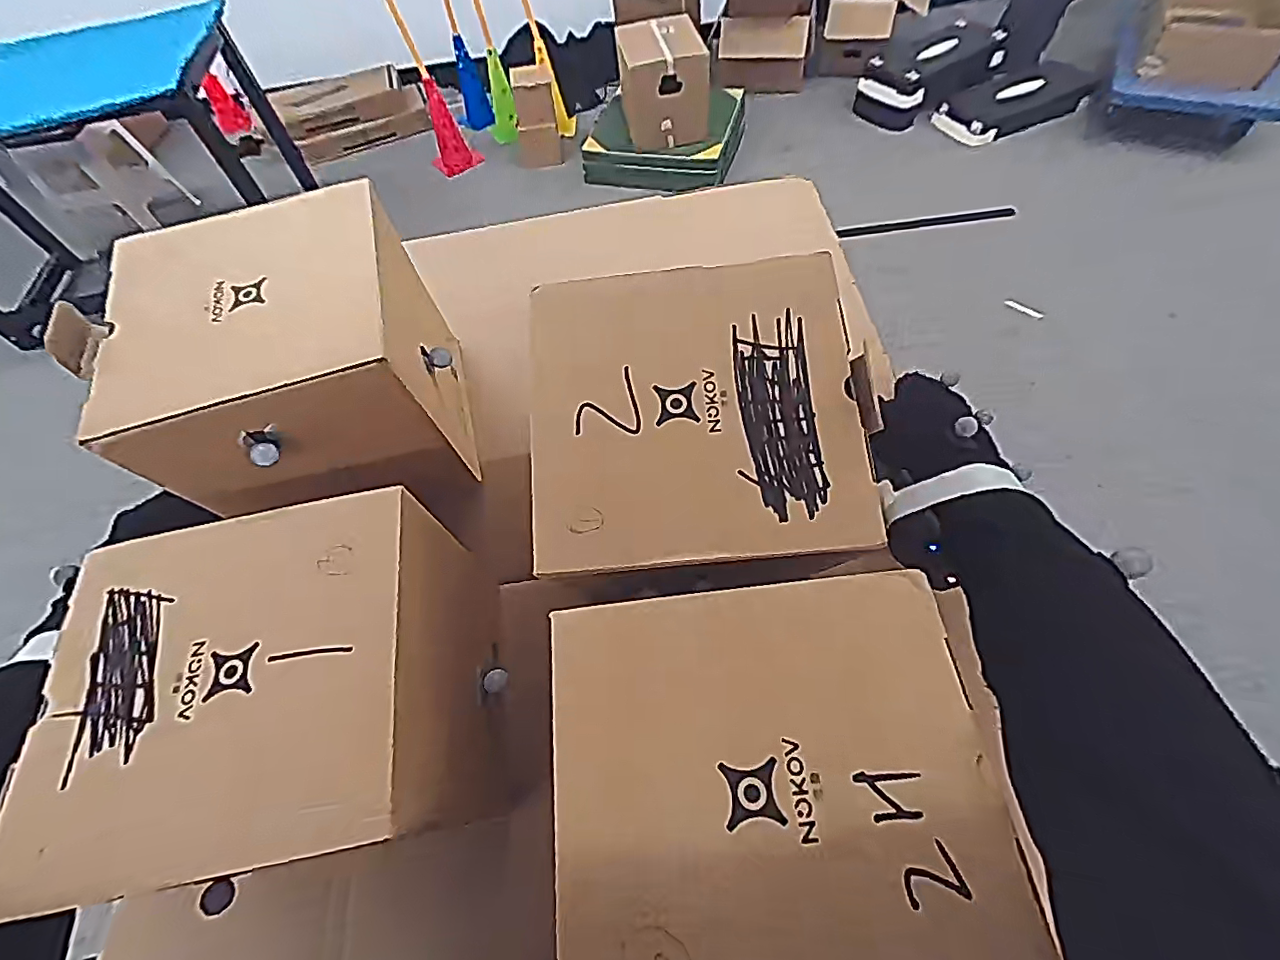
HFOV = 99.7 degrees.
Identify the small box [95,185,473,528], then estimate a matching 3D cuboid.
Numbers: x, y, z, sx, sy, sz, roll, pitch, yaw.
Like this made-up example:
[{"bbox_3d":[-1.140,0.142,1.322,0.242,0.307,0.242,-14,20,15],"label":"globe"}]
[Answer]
[{"bbox_3d":[-0.243,-0.082,0.418,0.179,0.176,0.168,-17,64,-2],"label":"small box"}]
